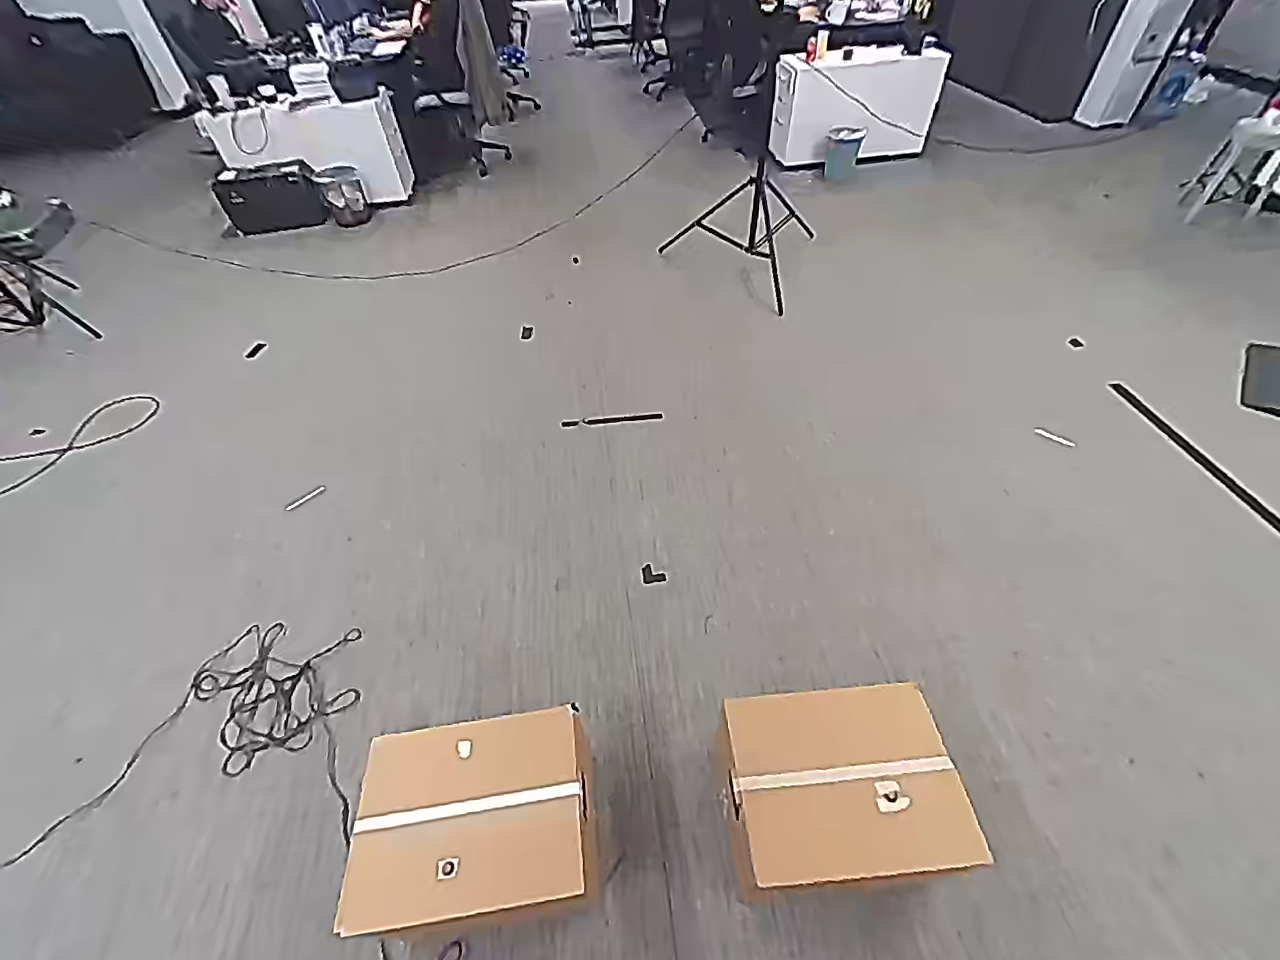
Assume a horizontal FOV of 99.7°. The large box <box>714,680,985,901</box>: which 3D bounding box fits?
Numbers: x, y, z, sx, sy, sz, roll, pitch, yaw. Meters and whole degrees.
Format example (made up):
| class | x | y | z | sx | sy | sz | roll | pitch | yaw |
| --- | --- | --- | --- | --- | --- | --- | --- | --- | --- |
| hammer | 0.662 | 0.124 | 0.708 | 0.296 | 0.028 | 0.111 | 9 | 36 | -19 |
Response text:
| class | x | y | z | sx | sy | sz | roll | pitch | yaw |
| --- | --- | --- | --- | --- | --- | --- | --- | --- | --- |
| large box | 0.386 | 0.646 | 1.123 | 0.408 | 0.320 | 0.320 | -4 | 48 | -2 |
